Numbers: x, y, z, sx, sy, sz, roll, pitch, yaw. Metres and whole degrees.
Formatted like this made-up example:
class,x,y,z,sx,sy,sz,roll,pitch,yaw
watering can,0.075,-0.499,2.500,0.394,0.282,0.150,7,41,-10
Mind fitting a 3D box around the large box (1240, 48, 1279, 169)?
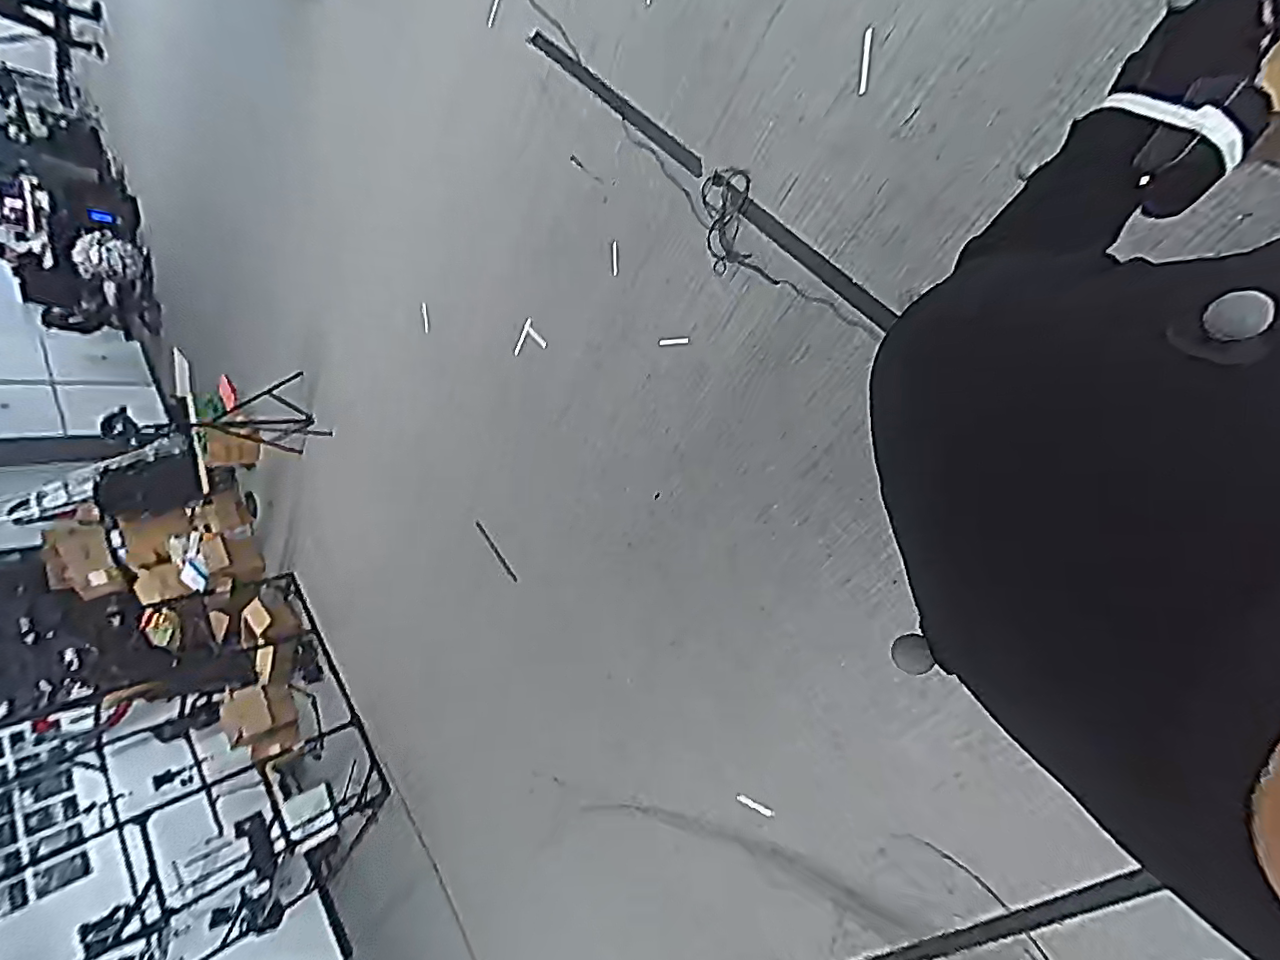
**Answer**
class,x,y,z,sx,sy,sz,roll,pitch,yaw
large box,0.677,-0.310,0.279,0.408,0.320,0.320,40,132,30
